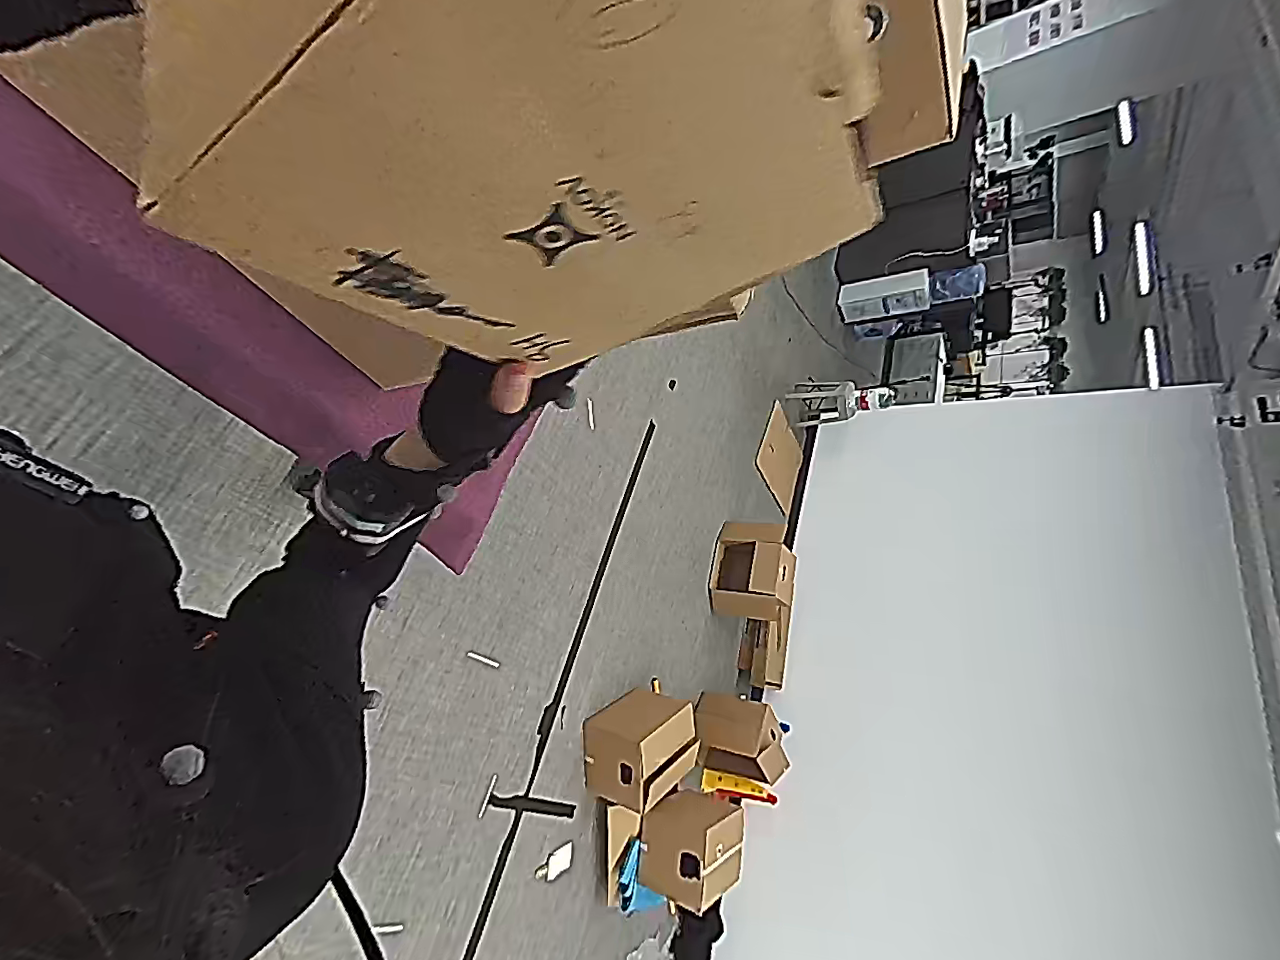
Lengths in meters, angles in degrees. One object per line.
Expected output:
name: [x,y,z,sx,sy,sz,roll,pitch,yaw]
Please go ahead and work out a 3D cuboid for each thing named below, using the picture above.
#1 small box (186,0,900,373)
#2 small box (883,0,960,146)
small box: [-0.027,-0.165,0.193,0.168,0.179,0.176,13,63,-61]
small box: [0.145,-0.365,0.425,0.179,0.176,0.168,45,55,-45]
